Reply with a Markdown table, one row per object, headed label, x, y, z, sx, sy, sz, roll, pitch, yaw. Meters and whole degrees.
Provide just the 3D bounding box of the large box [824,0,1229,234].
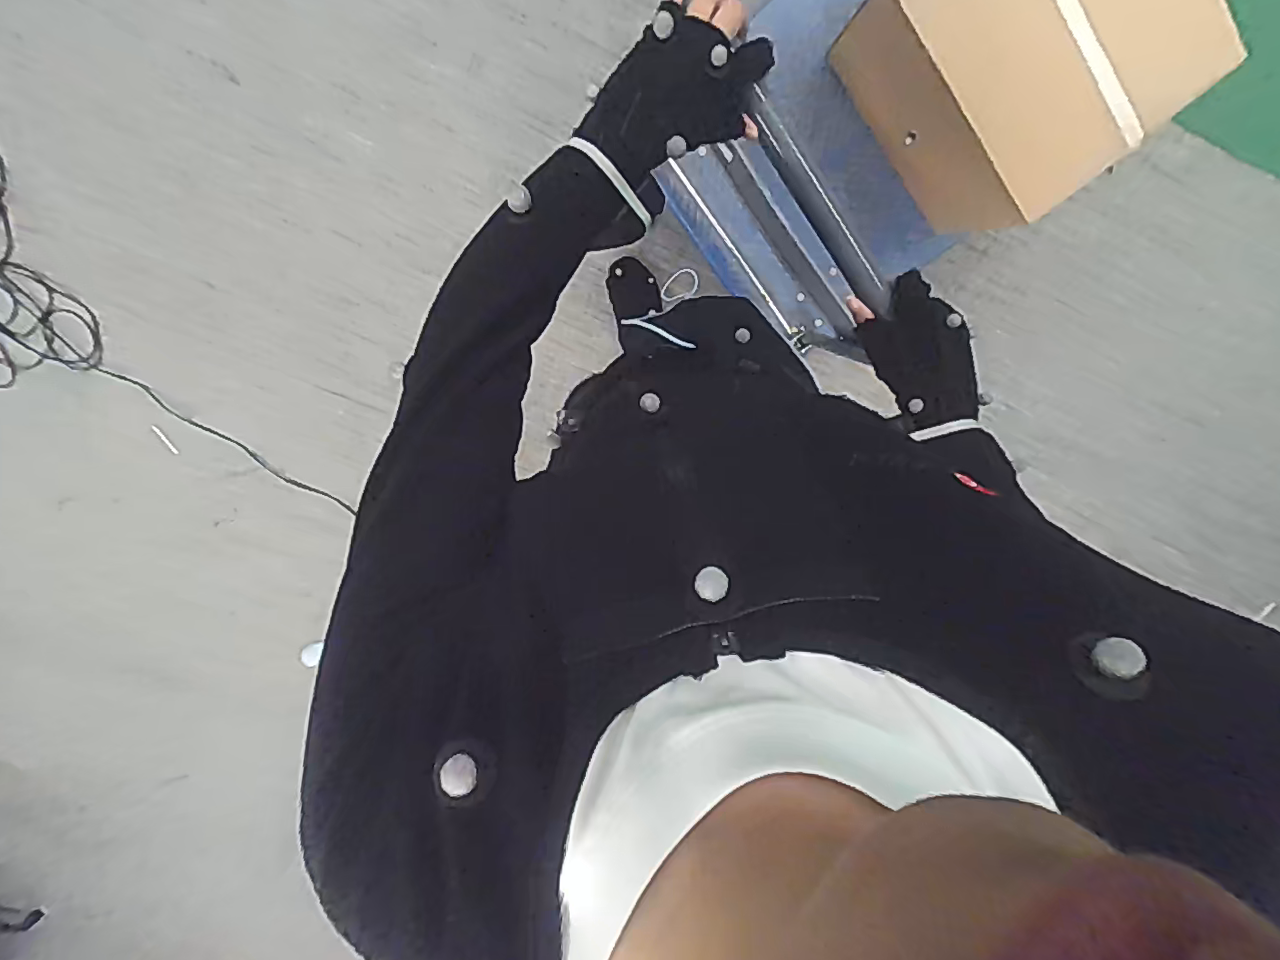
| label | x | y | z | sx | sy | sz | roll | pitch | yaw |
| --- | --- | --- | --- | --- | --- | --- | --- | --- | --- |
| large box | 0.568 | -0.670 | 0.869 | 0.320 | 0.320 | 0.408 | -38 | 104 | 16 |
